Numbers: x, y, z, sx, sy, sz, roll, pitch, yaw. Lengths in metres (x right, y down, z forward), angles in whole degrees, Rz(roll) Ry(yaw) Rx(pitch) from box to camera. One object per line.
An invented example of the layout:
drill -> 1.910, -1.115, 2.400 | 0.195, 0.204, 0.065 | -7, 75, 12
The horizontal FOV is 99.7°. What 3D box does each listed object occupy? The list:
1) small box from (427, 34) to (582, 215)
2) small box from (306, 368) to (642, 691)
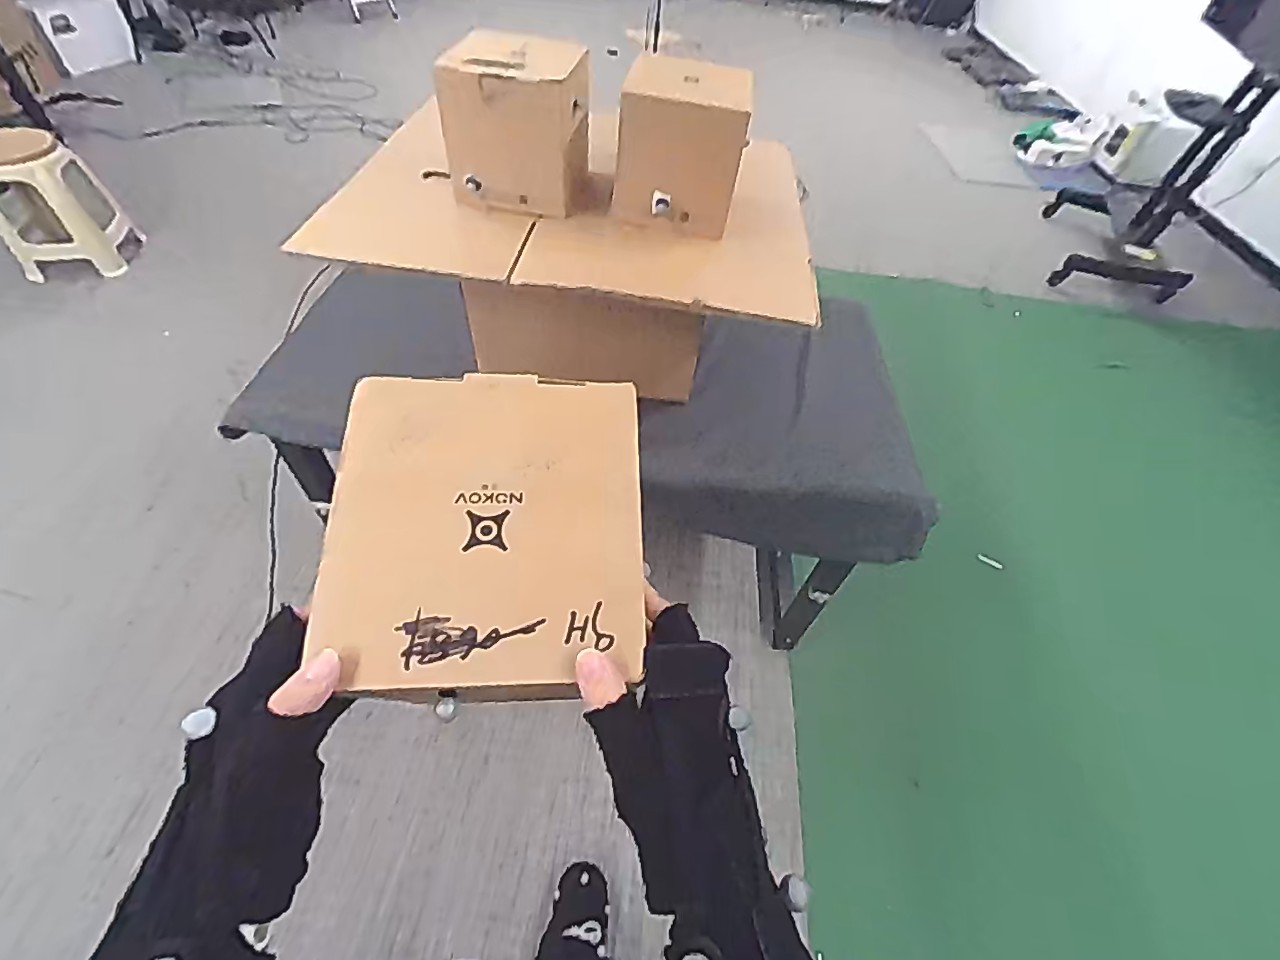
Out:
small box -> -0.179, -0.507, 0.778 | 0.168, 0.176, 0.179 | 9, 51, 1
small box -> -0.089, 0.044, 0.372 | 0.168, 0.176, 0.179 | -1, 66, -5
